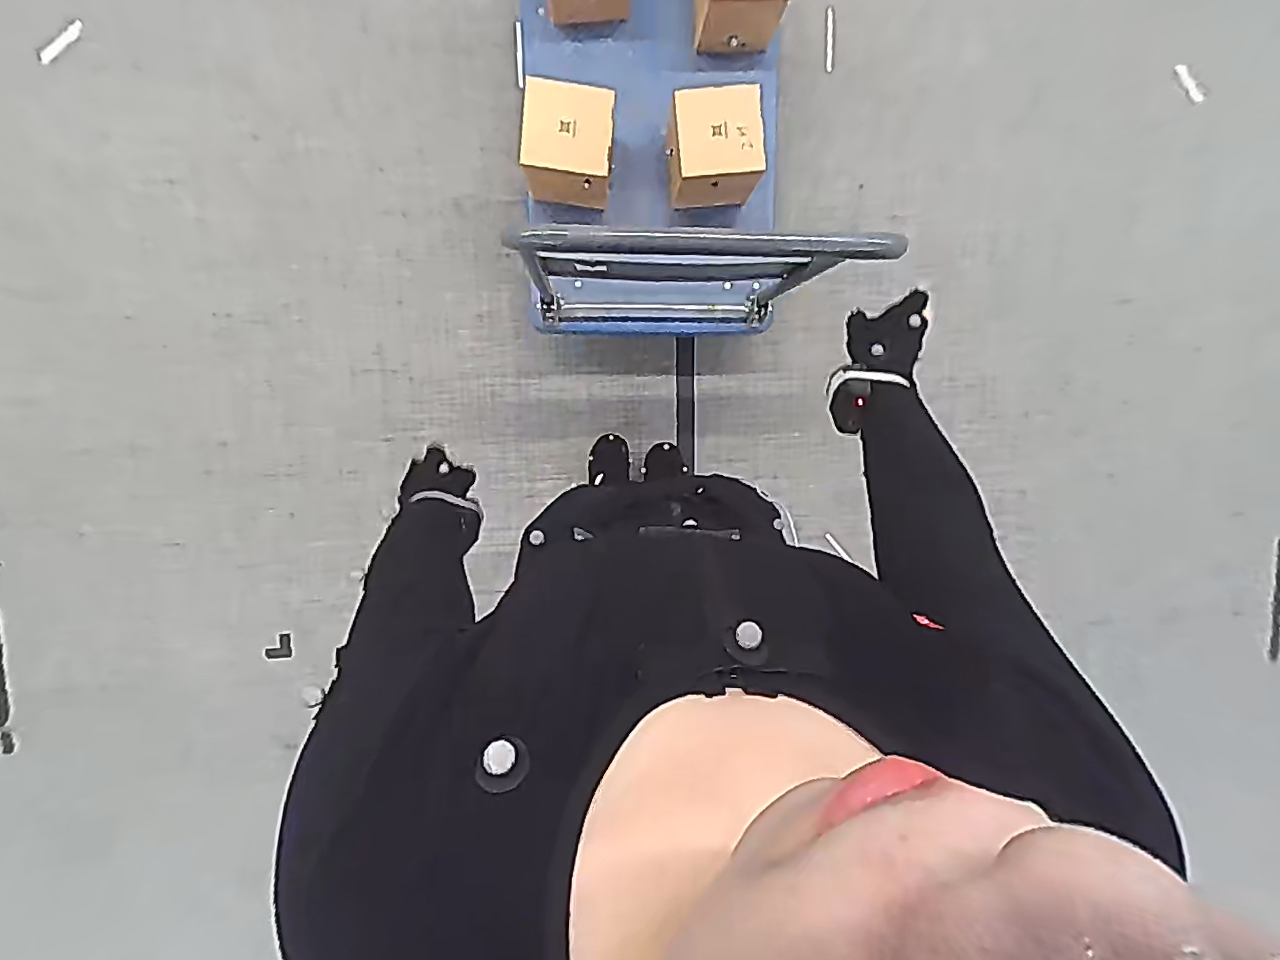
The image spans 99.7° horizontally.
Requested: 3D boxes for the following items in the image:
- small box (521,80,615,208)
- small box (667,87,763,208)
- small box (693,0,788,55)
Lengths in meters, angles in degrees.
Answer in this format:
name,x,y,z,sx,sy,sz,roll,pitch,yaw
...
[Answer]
name,x,y,z,sx,sy,sz,roll,pitch,yaw
small box,-0.149,-0.701,1.149,0.179,0.176,0.168,5,96,-6
small box,0.154,-0.708,1.169,0.179,0.176,0.168,-6,97,-3
small box,0.204,-1.042,1.134,0.168,0.176,0.179,-4,98,-3
